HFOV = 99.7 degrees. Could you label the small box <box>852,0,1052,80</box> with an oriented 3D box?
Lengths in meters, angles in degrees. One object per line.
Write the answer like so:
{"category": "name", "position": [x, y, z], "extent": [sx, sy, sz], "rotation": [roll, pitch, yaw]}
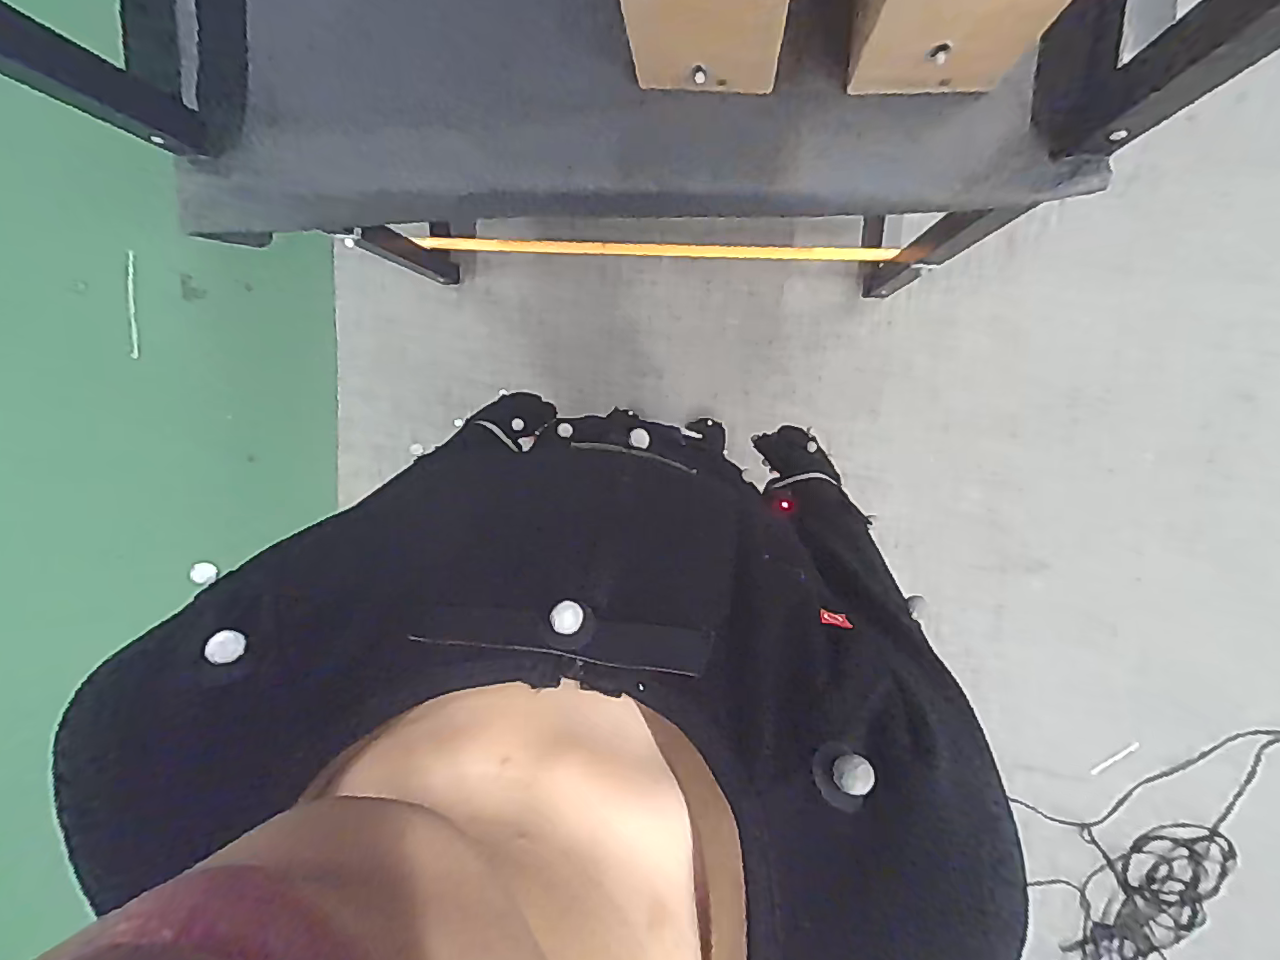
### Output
{"category": "small box", "position": [0.323, -0.538, 0.544], "extent": [0.168, 0.176, 0.179], "rotation": [4, 98, 7]}
